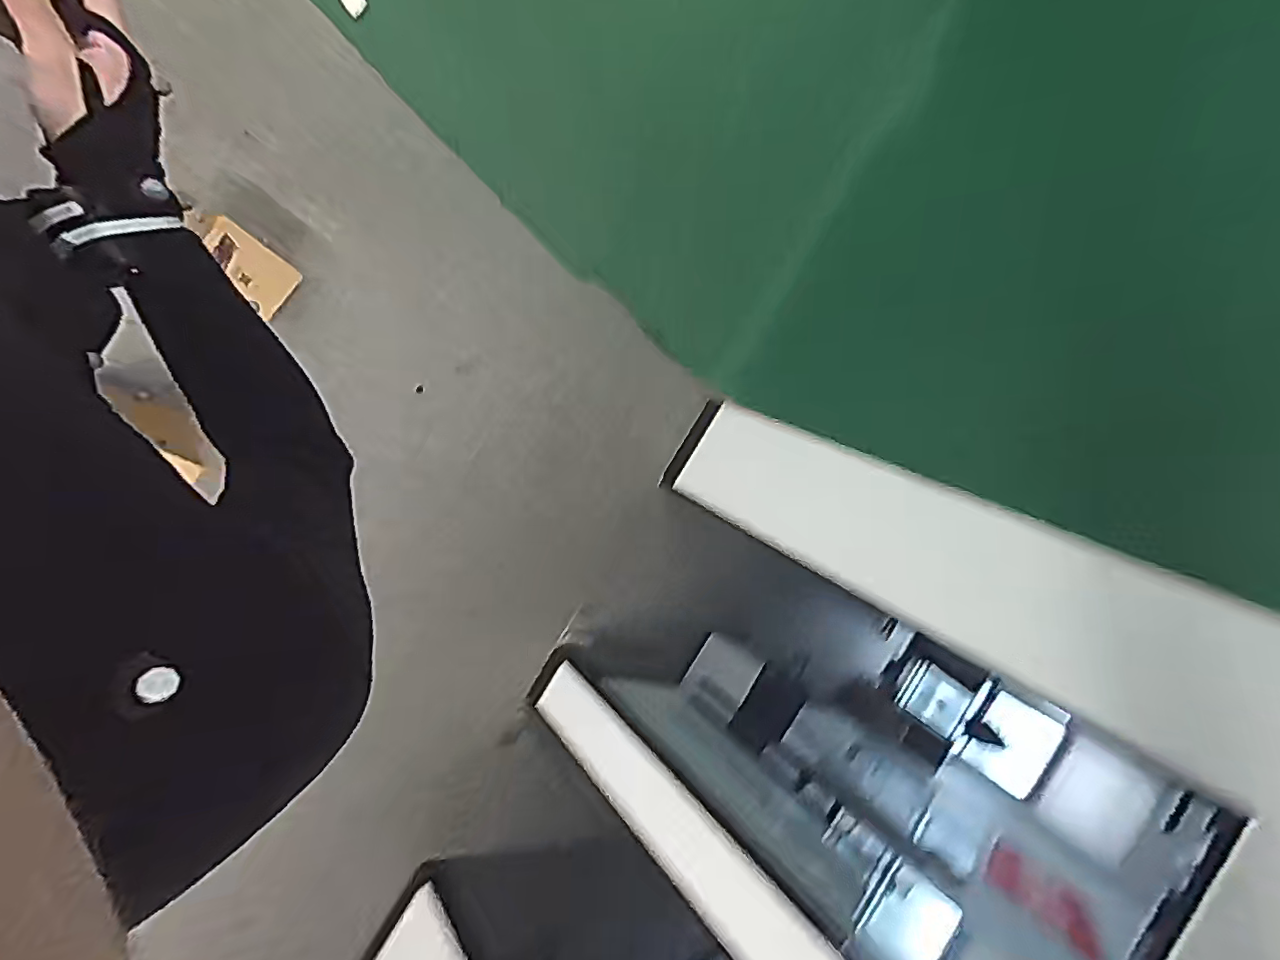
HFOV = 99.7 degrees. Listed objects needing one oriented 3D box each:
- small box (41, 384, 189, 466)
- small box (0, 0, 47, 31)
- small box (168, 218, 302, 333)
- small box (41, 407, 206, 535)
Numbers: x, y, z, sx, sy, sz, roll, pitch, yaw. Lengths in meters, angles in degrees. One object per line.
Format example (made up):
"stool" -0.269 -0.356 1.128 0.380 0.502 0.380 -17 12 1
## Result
"small box" -1.140 -0.091 1.182 0.168 0.176 0.179 -56 139 -3
"small box" -0.487 -0.434 0.336 0.168 0.176 0.179 7 104 -55
"small box" -0.913 -0.463 1.215 0.168 0.176 0.179 -54 140 -5
"small box" -1.027 -0.023 1.083 0.168 0.176 0.179 -54 139 -8
